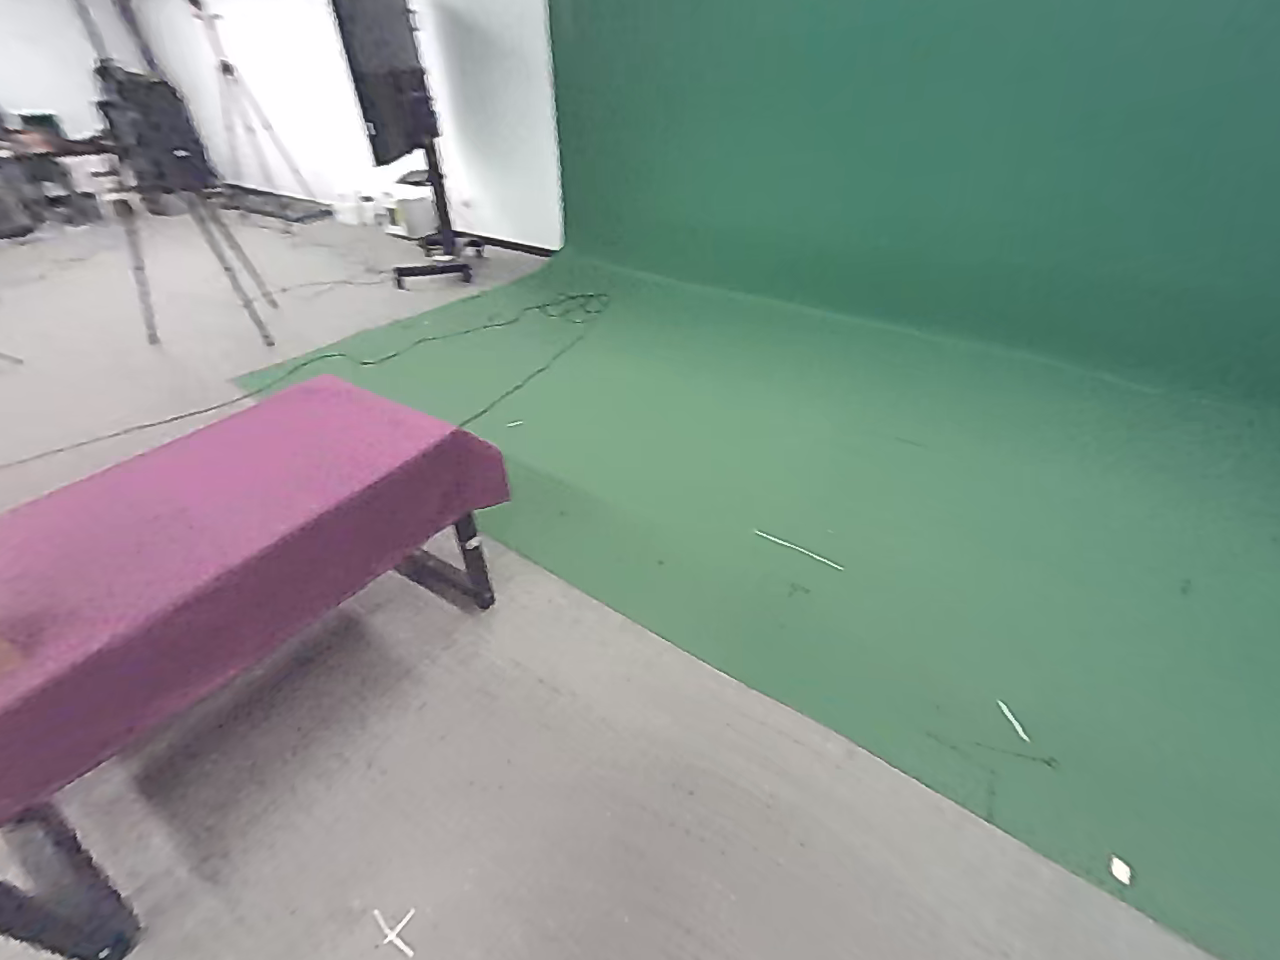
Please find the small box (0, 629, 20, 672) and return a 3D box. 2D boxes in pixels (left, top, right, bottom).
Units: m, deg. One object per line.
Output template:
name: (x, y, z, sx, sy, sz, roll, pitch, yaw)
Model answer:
small box: (-1.138, 0.251, 0.833, 0.179, 0.176, 0.168, 20, 41, 24)
